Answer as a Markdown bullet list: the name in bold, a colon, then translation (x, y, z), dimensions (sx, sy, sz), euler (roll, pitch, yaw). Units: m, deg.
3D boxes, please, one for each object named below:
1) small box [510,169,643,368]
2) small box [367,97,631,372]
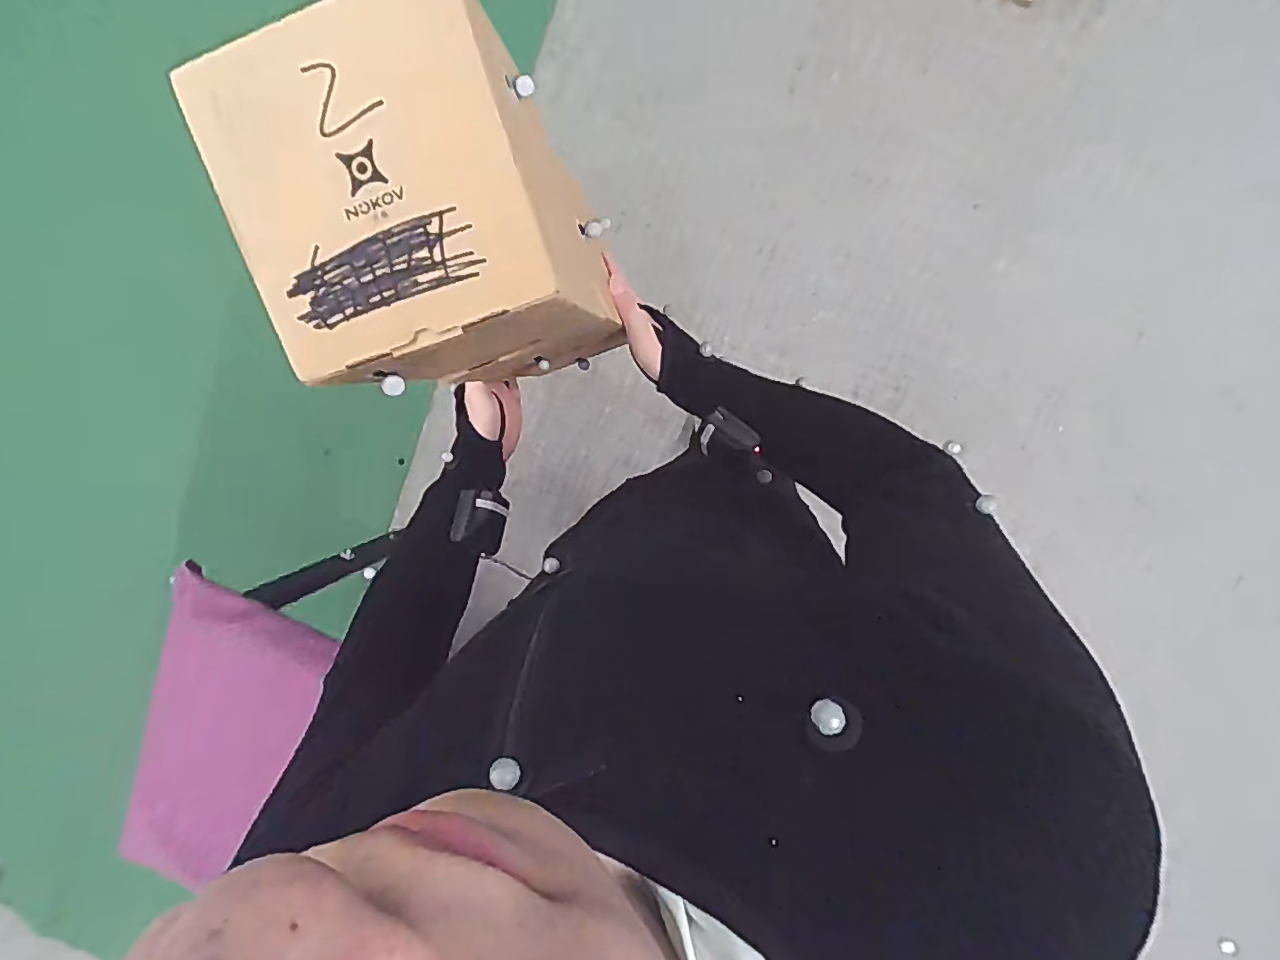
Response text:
- **small box**: translation (-0.102, -0.248, 0.682), dimensions (0.168, 0.176, 0.179), euler (-17, 101, 9)
- **small box**: translation (-0.116, -0.213, 0.525), dimensions (0.168, 0.176, 0.179), euler (-19, 101, 8)
